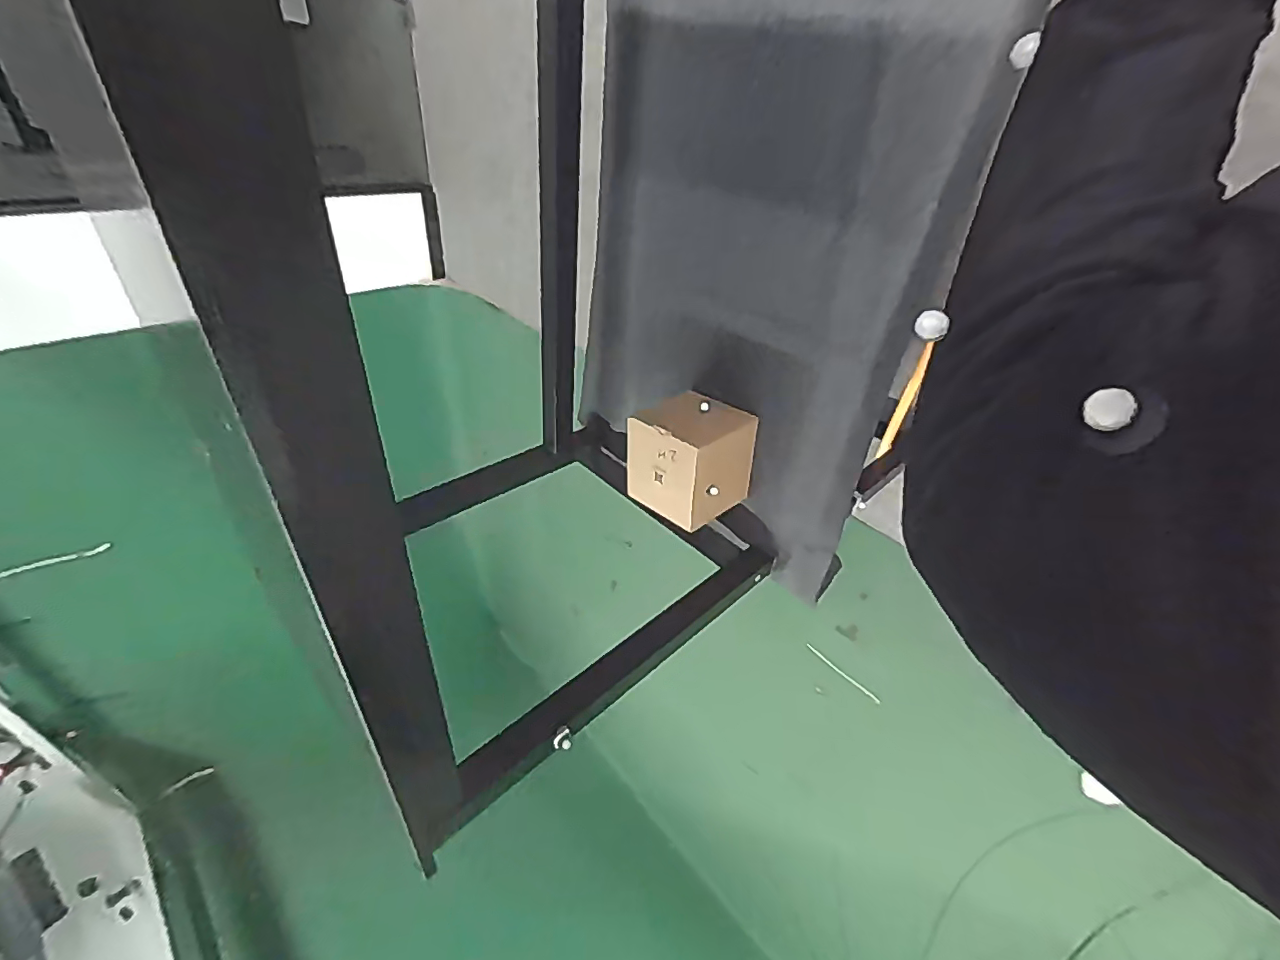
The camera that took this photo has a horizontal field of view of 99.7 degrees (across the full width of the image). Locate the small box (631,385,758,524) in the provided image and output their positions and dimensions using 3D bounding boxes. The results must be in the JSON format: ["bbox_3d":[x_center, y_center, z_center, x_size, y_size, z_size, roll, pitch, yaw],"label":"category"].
[{"bbox_3d":[0.100,-0.055,1.008,0.168,0.176,0.179,30,133,36],"label":"small box"}]
